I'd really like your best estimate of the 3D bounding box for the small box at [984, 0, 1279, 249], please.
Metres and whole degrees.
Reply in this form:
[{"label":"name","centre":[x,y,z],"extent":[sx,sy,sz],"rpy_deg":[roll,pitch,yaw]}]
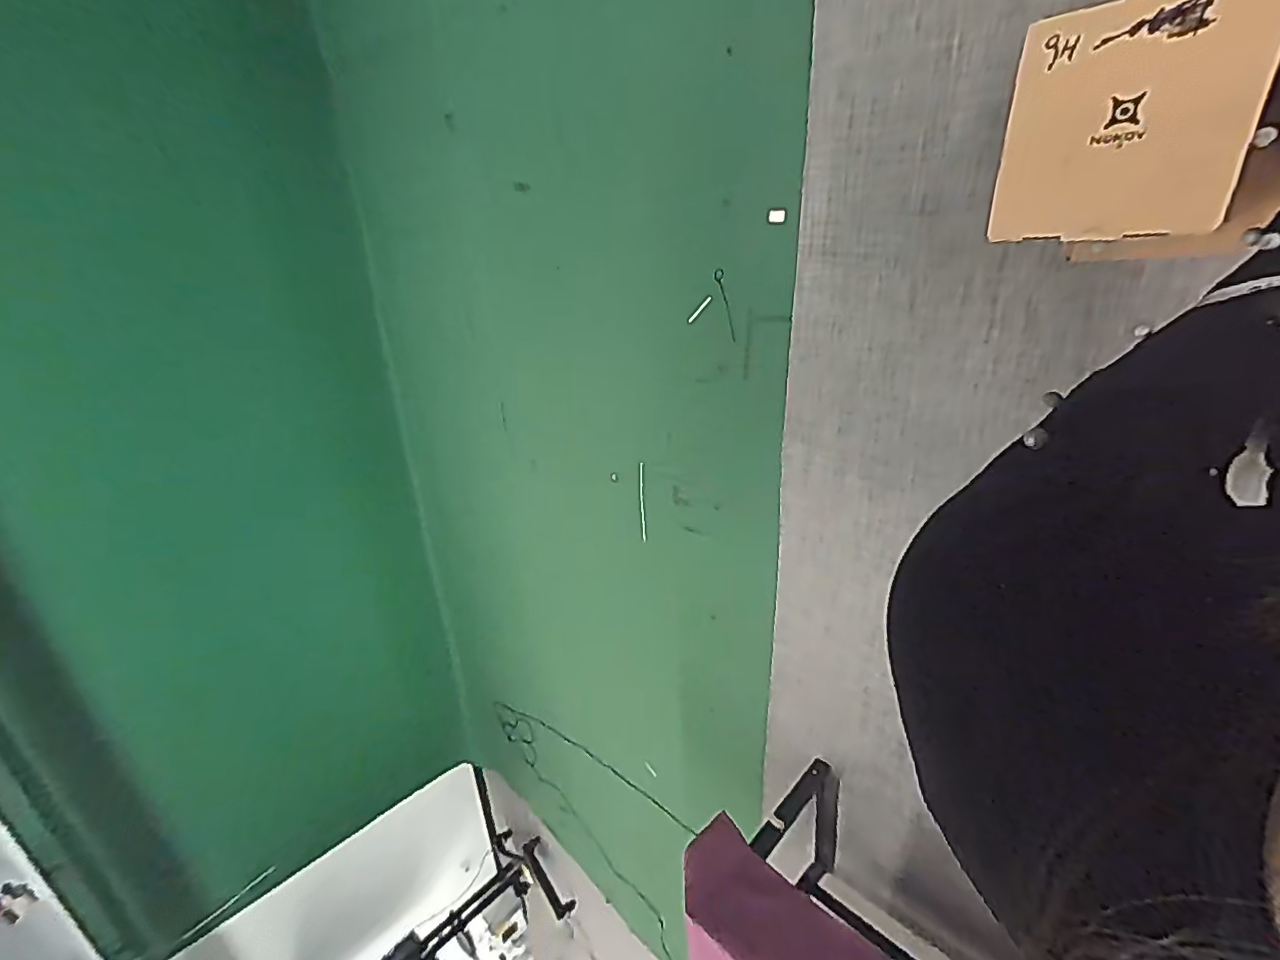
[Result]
[{"label":"small box","centre":[0.456,-0.318,0.506],"extent":[0.168,0.176,0.179],"rpy_deg":[20,123,40]}]
